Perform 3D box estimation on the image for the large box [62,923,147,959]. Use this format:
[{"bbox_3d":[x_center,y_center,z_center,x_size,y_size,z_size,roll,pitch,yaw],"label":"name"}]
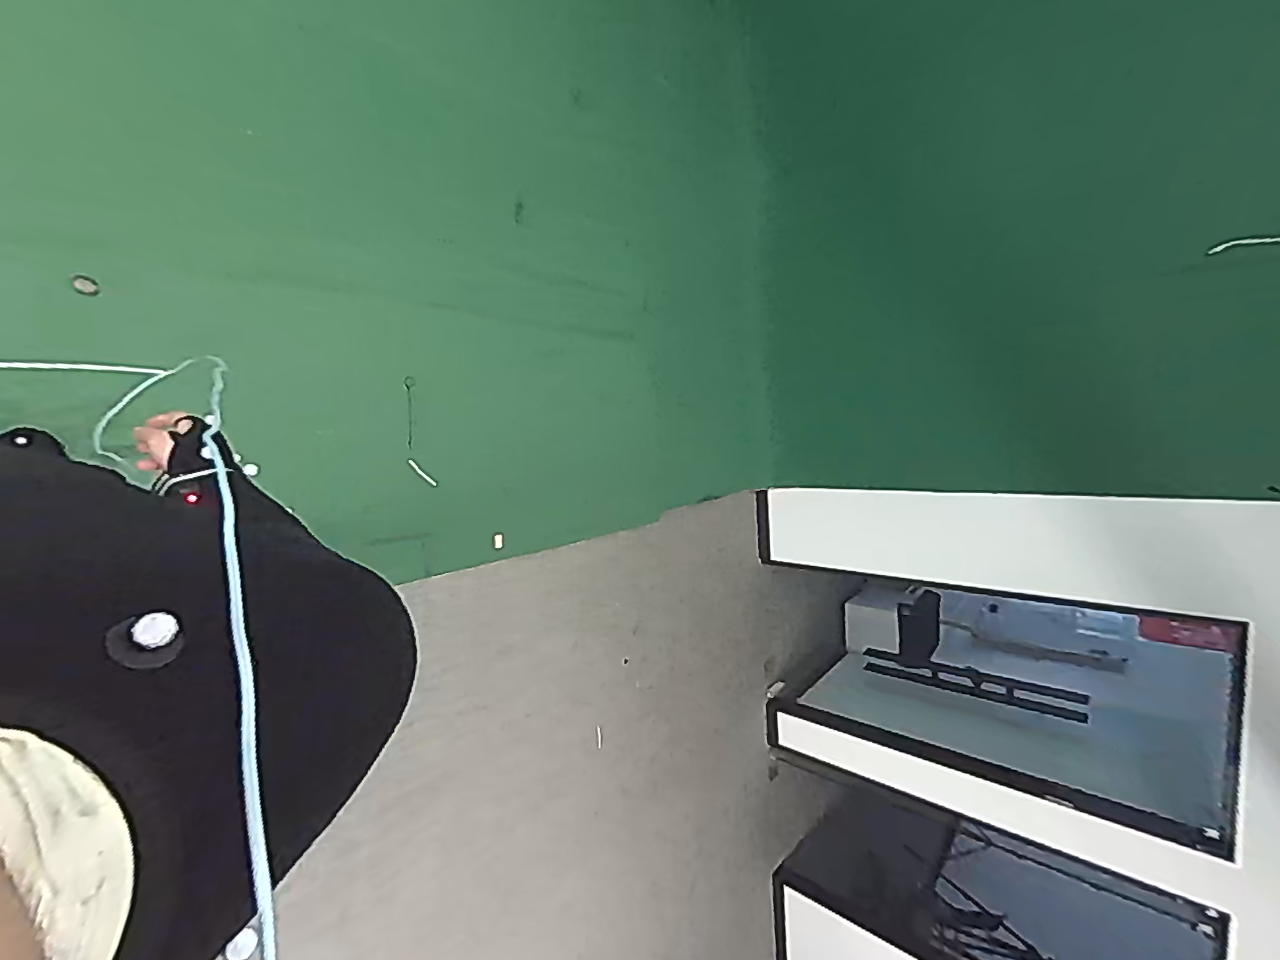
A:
[{"bbox_3d":[-1.180,1.199,1.028,0.408,0.320,0.320,-12,100,-48],"label":"large box"}]
